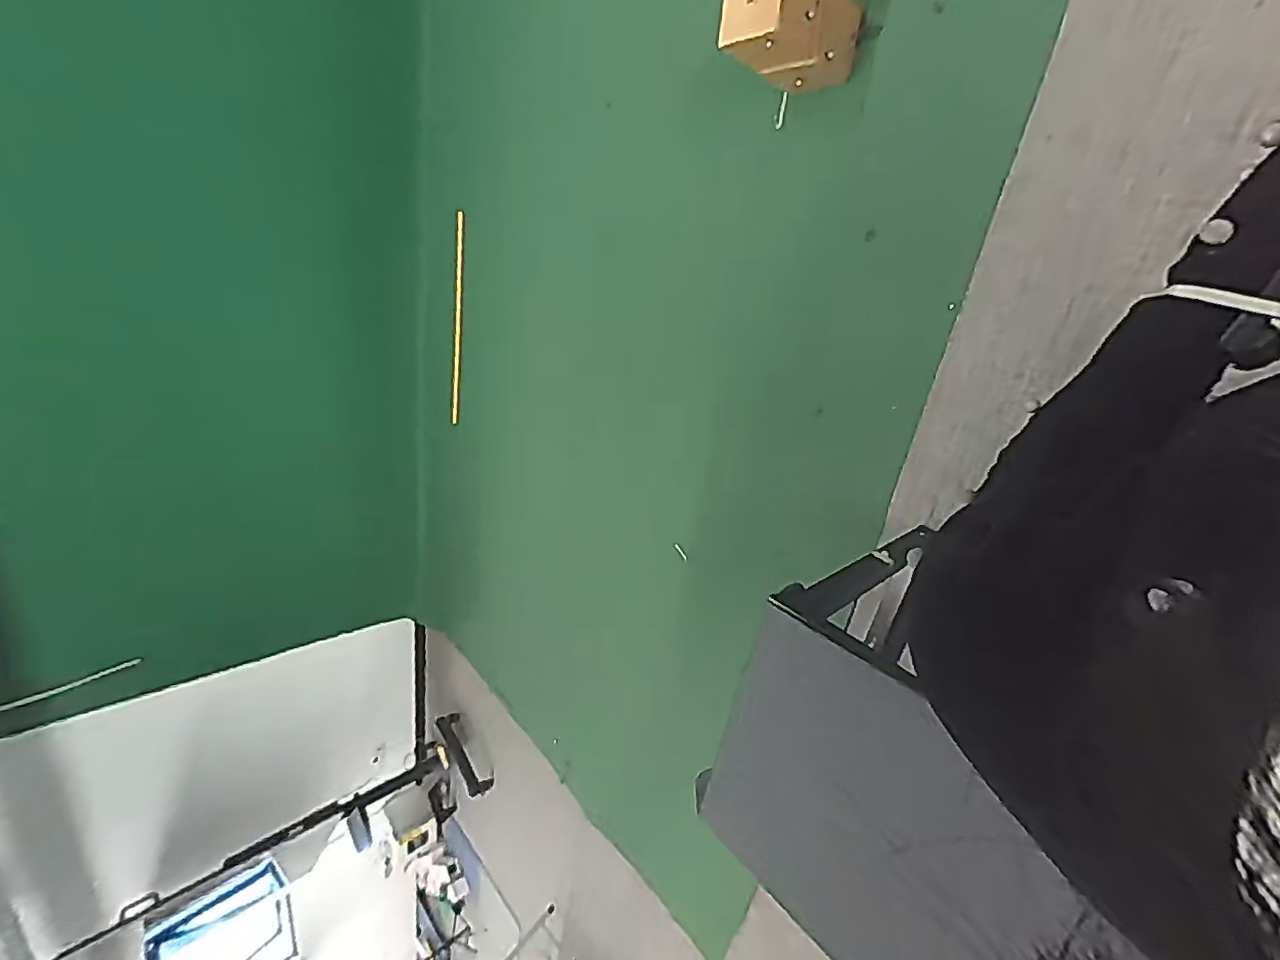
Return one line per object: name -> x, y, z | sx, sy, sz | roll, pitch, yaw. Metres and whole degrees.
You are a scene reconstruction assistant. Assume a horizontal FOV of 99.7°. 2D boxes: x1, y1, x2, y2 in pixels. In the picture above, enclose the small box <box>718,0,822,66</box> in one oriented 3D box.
small box -> 0.317, -1.139, 1.306 | 0.179, 0.176, 0.168 | 23, 115, 42
